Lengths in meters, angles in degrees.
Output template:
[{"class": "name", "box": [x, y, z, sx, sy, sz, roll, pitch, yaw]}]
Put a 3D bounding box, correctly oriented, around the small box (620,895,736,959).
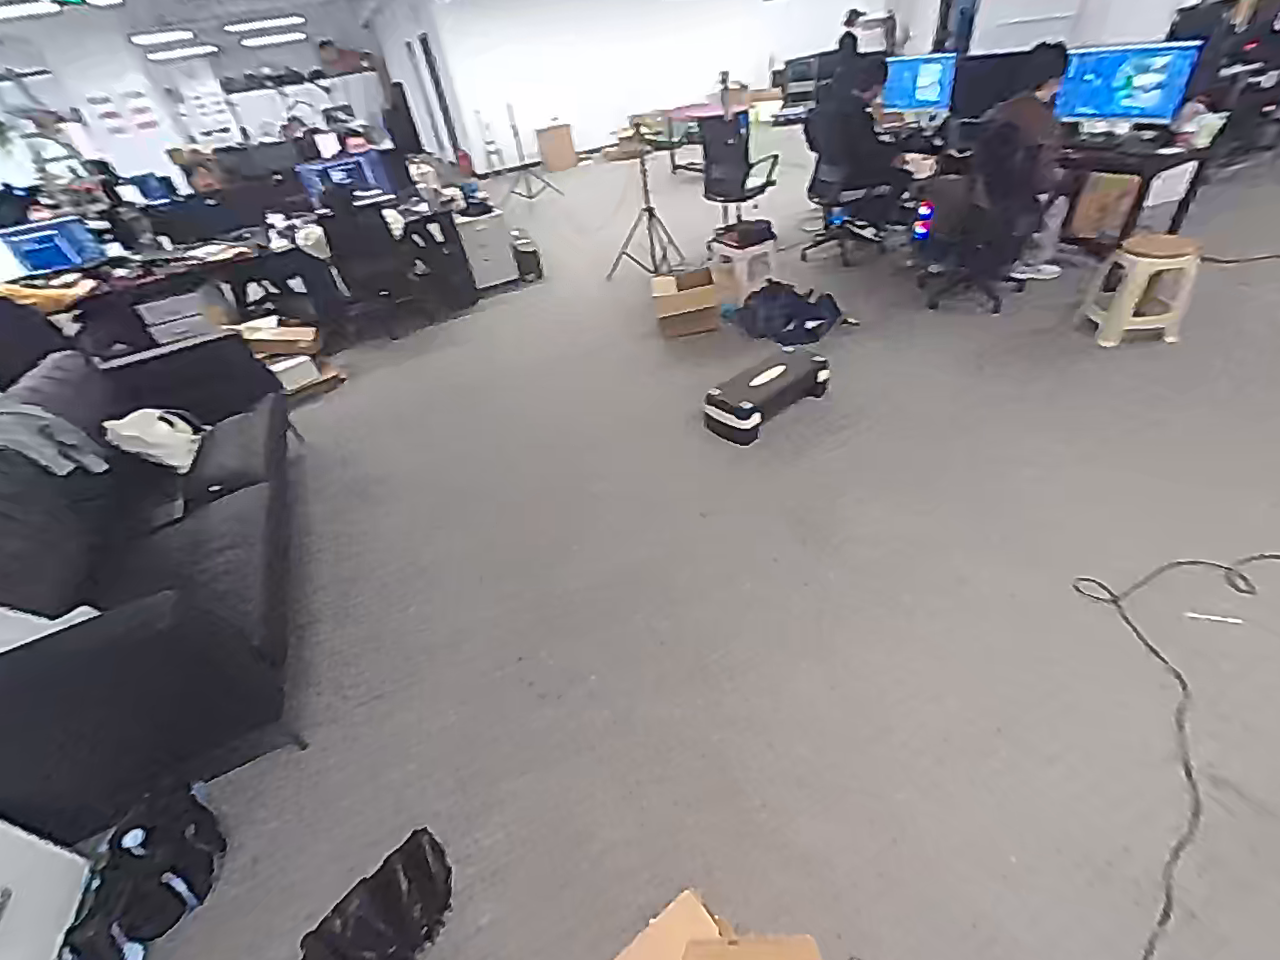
[{"class": "small box", "box": [0.074, 0.833, 0.870, 0.179, 0.176, 0.168, -30, 40, -22]}]
